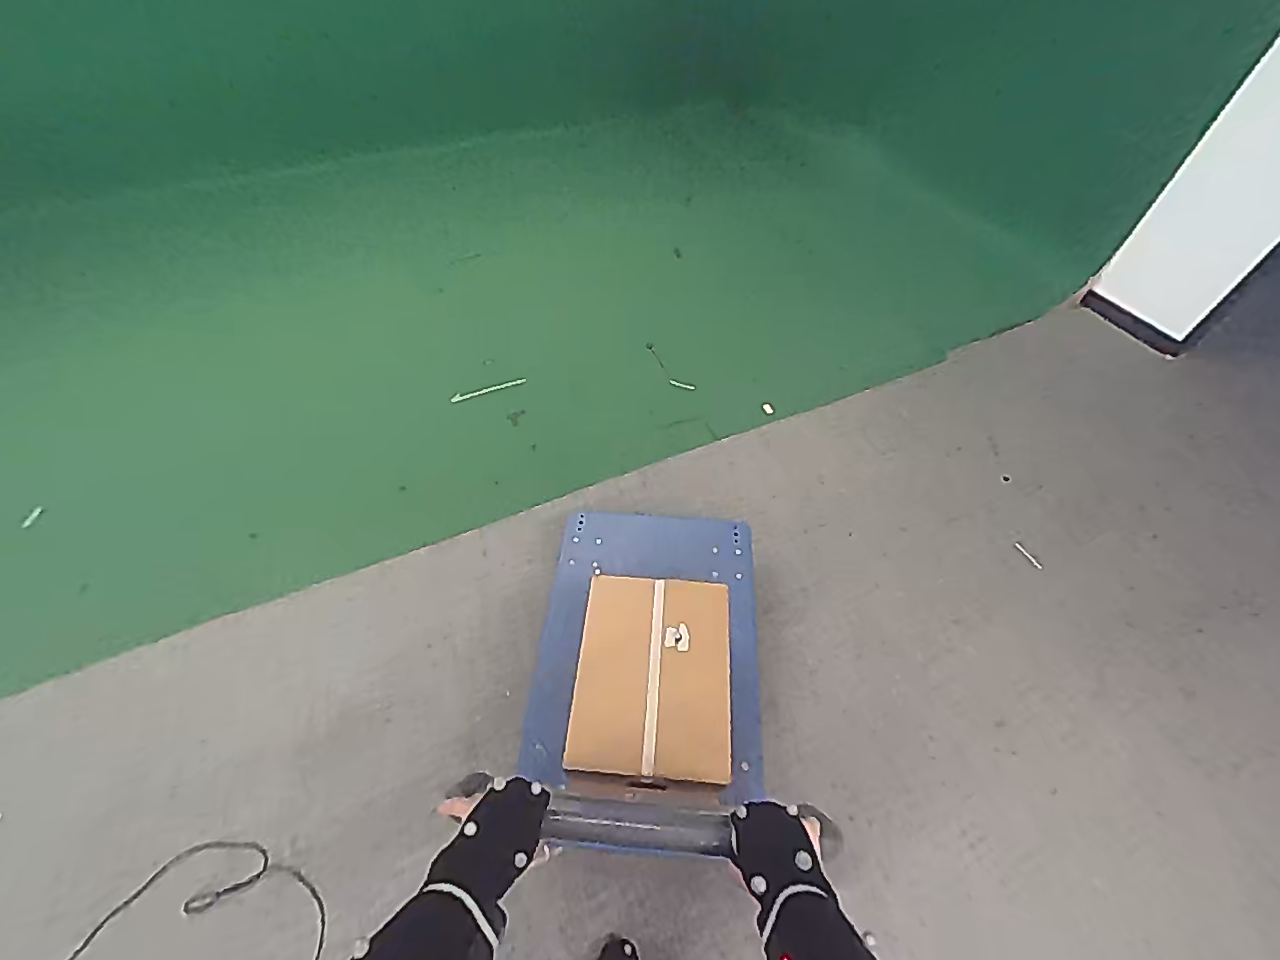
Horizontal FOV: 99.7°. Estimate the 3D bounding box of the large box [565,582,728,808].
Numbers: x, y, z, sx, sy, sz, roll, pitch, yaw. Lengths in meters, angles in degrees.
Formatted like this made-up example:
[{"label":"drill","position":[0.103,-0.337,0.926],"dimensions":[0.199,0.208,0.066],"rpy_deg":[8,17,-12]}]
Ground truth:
[{"label":"large box","position":[0.025,0.495,1.245],"dimensions":[0.320,0.320,0.408],"rpy_deg":[4,51,3]}]
